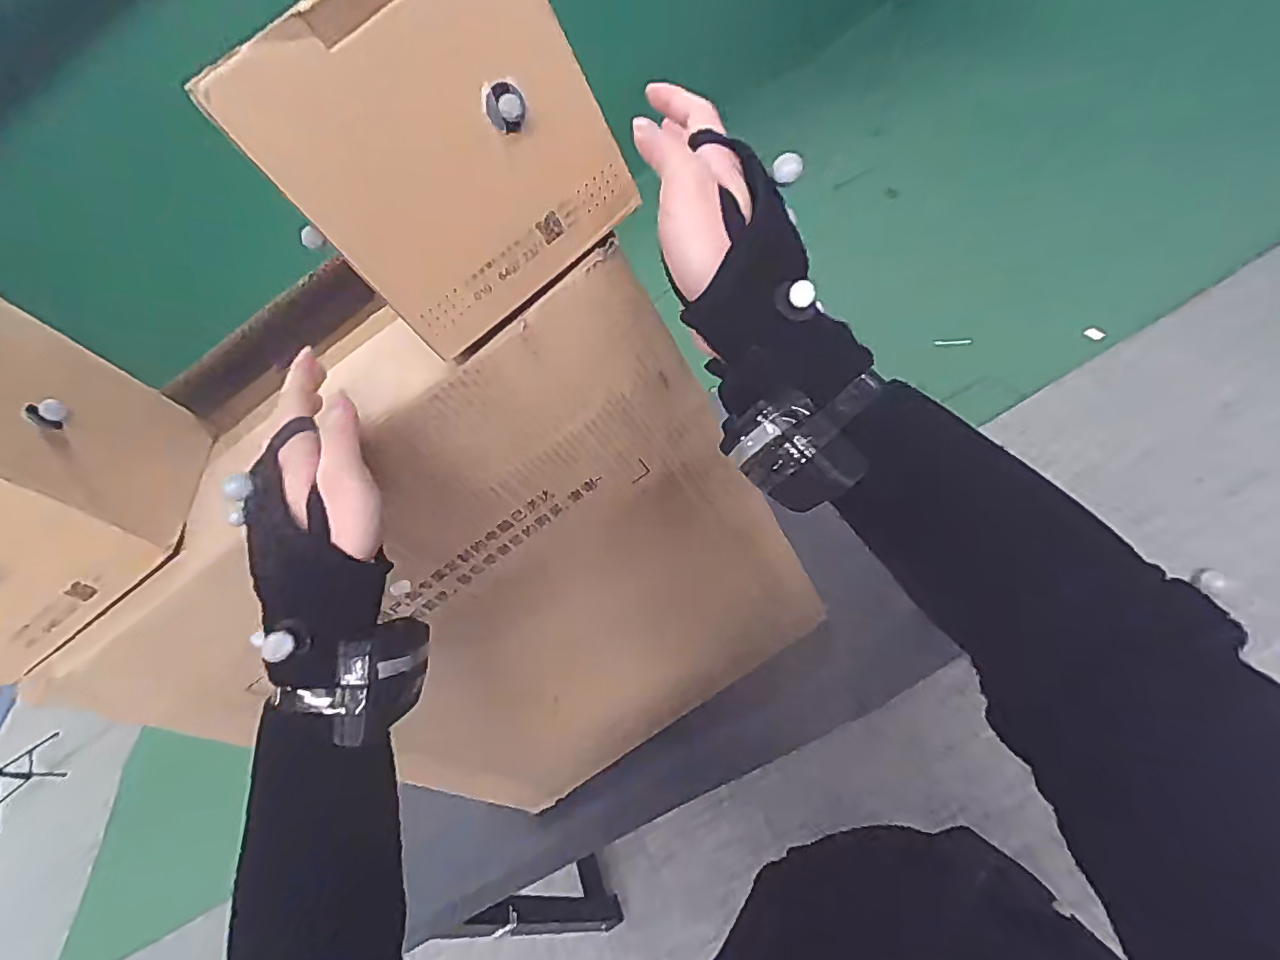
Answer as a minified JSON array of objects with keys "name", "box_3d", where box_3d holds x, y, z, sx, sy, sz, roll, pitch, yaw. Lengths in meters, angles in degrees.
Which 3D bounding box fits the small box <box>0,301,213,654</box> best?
[{"name":"small box","box_3d":[-0.462,0.005,0.396,0.168,0.176,0.179,-37,44,4]}]

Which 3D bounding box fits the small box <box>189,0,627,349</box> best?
[{"name":"small box","box_3d":[-0.135,-0.213,0.352,0.168,0.176,0.179,-39,43,-2]}]
